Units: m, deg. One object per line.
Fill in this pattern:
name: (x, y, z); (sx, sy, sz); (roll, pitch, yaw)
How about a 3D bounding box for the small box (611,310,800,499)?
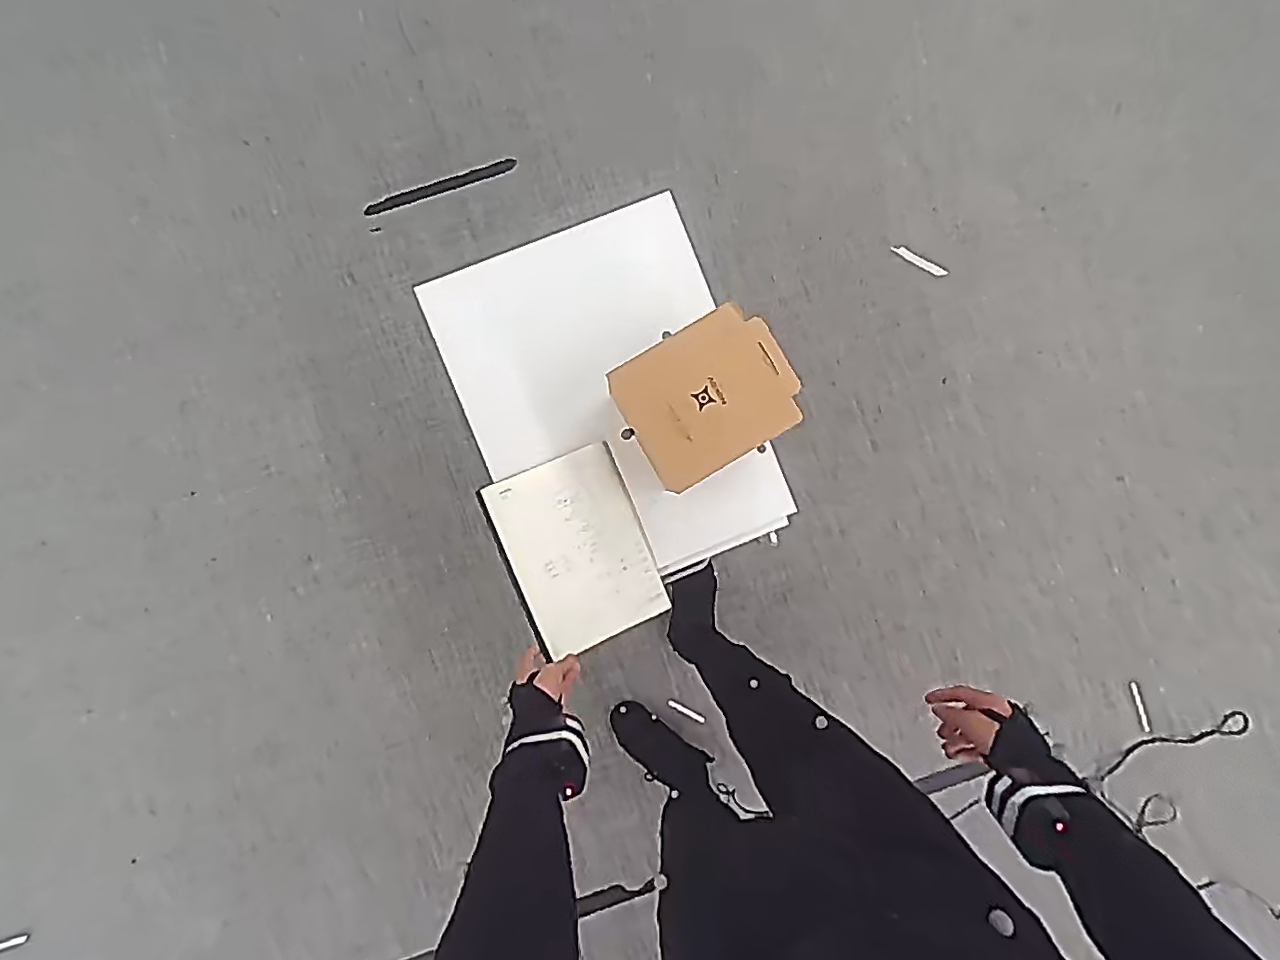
small box: (0.073, -0.090, 0.711); (0.179, 0.176, 0.168); (-31, 91, -2)
